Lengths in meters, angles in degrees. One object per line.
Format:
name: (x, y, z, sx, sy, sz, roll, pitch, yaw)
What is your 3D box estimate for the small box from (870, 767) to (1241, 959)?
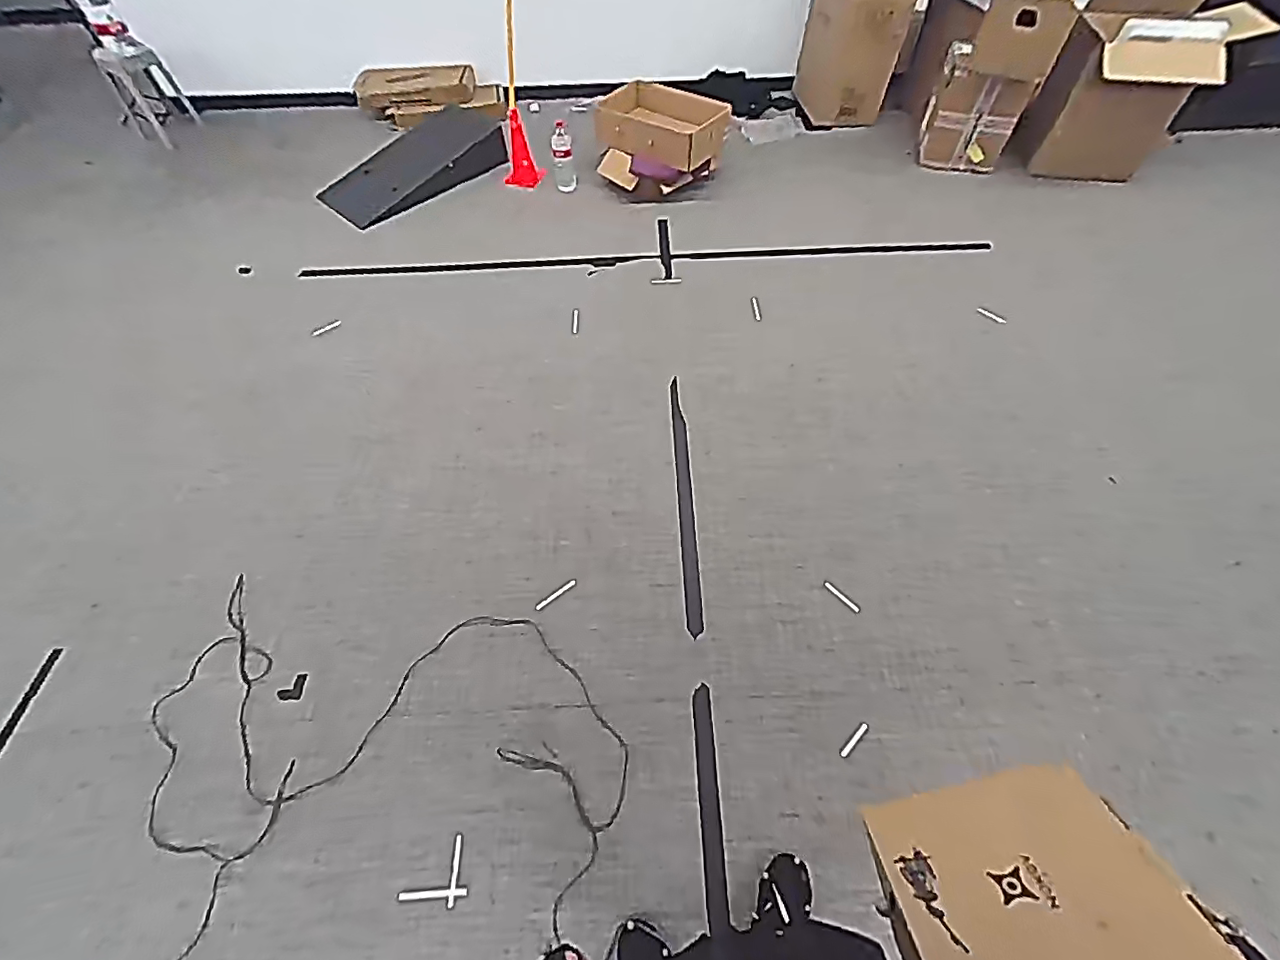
small box: (0.303, 0.363, 0.412, 0.179, 0.176, 0.168, -17, 17, 7)
